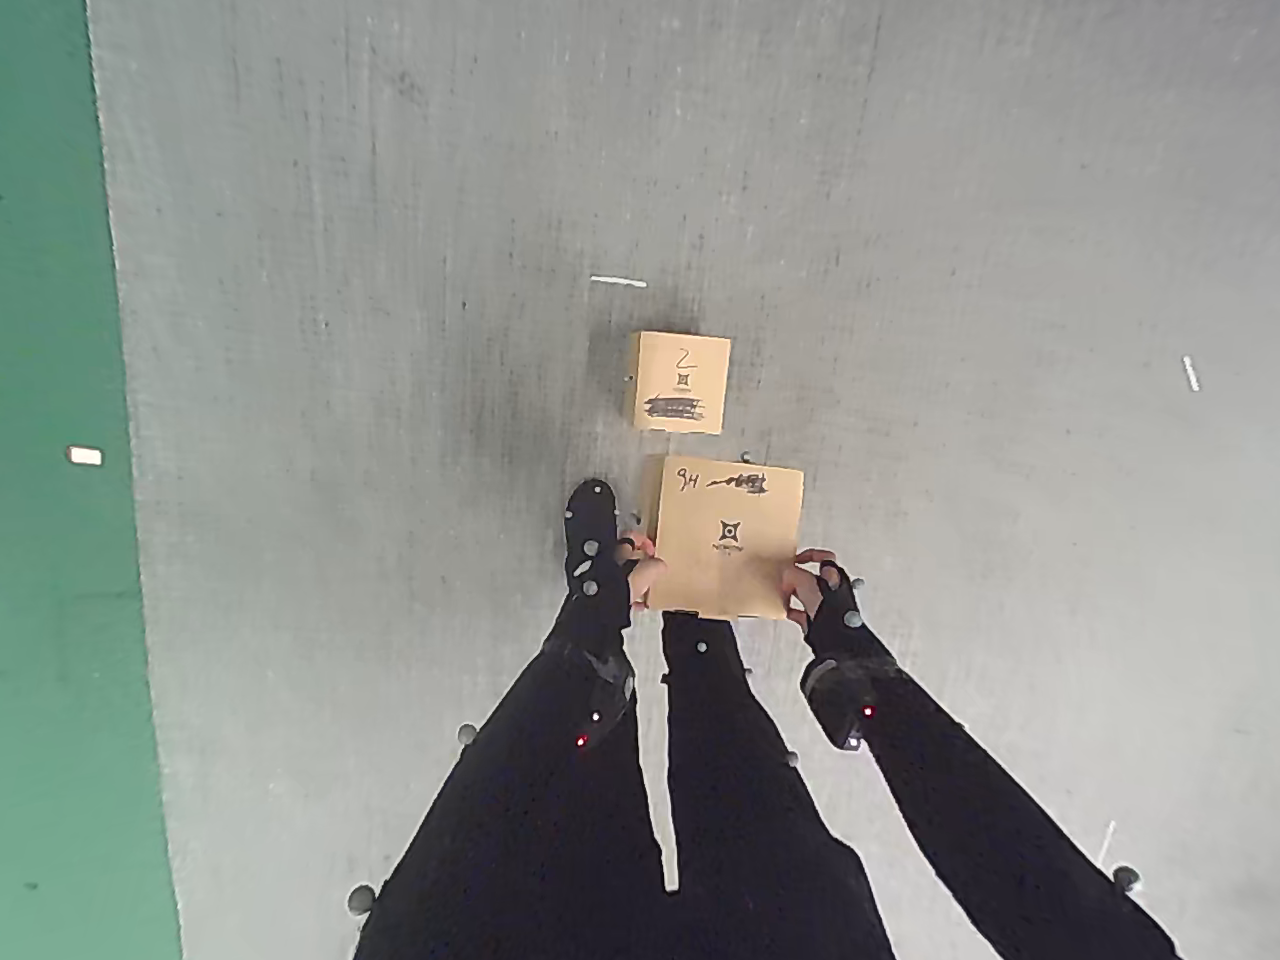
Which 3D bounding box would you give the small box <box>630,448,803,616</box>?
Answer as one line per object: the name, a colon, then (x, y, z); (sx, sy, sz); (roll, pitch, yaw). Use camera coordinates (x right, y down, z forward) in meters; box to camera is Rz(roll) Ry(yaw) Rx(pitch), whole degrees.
small box: (0.083, 0.056, 0.683); (0.168, 0.176, 0.179); (7, 92, -9)
